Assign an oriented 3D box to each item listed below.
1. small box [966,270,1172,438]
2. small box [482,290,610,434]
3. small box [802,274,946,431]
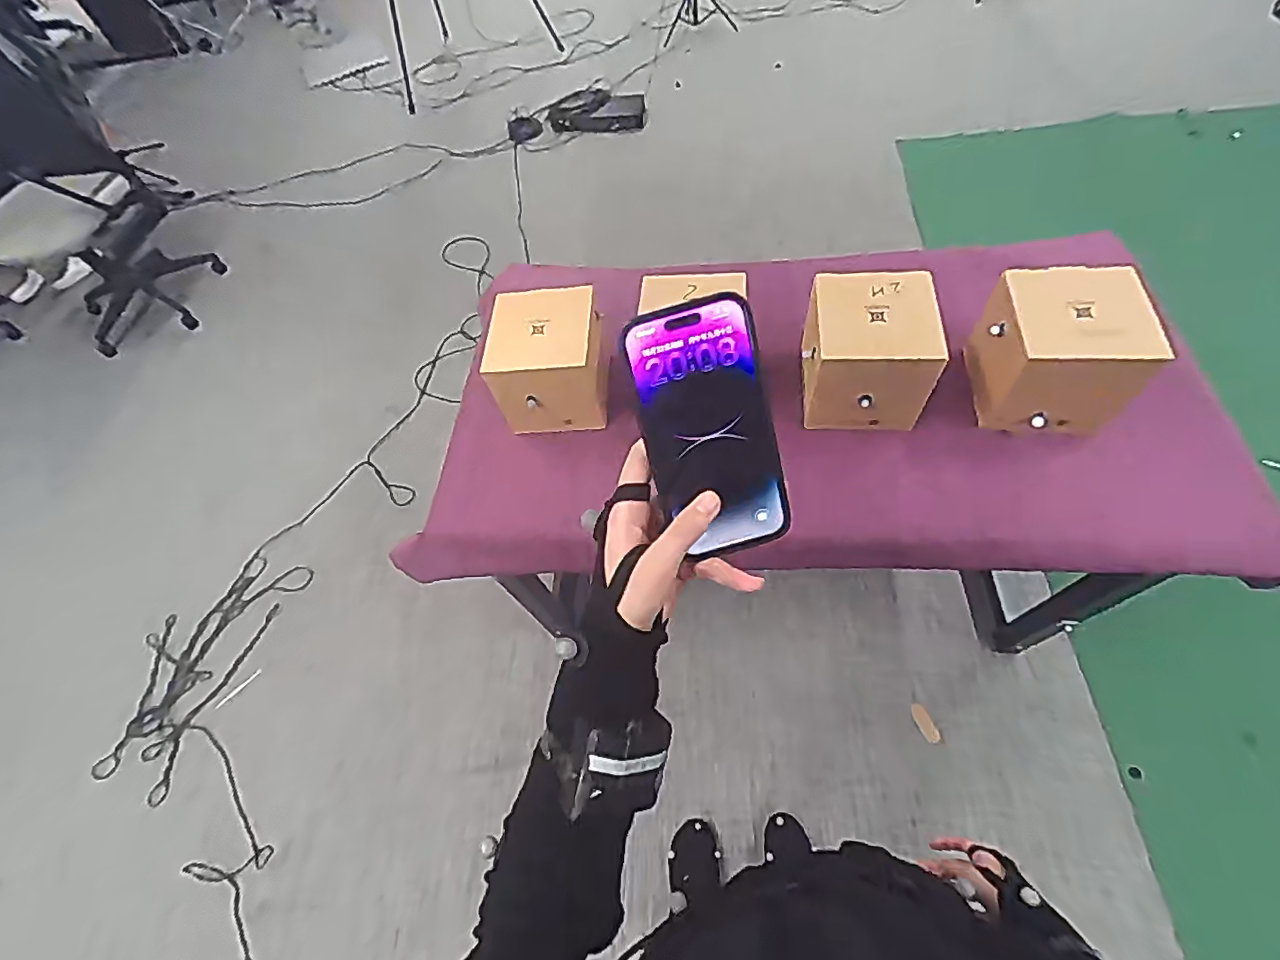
[{"bbox_3d":[0.605,-0.184,0.796,0.168,0.176,0.179,3,60,12],"label":"small box"},{"bbox_3d":[-0.147,-0.190,0.915,0.168,0.176,0.179,-3,58,7],"label":"small box"},{"bbox_3d":[0.348,-0.191,0.838,0.168,0.176,0.179,2,59,10],"label":"small box"}]
